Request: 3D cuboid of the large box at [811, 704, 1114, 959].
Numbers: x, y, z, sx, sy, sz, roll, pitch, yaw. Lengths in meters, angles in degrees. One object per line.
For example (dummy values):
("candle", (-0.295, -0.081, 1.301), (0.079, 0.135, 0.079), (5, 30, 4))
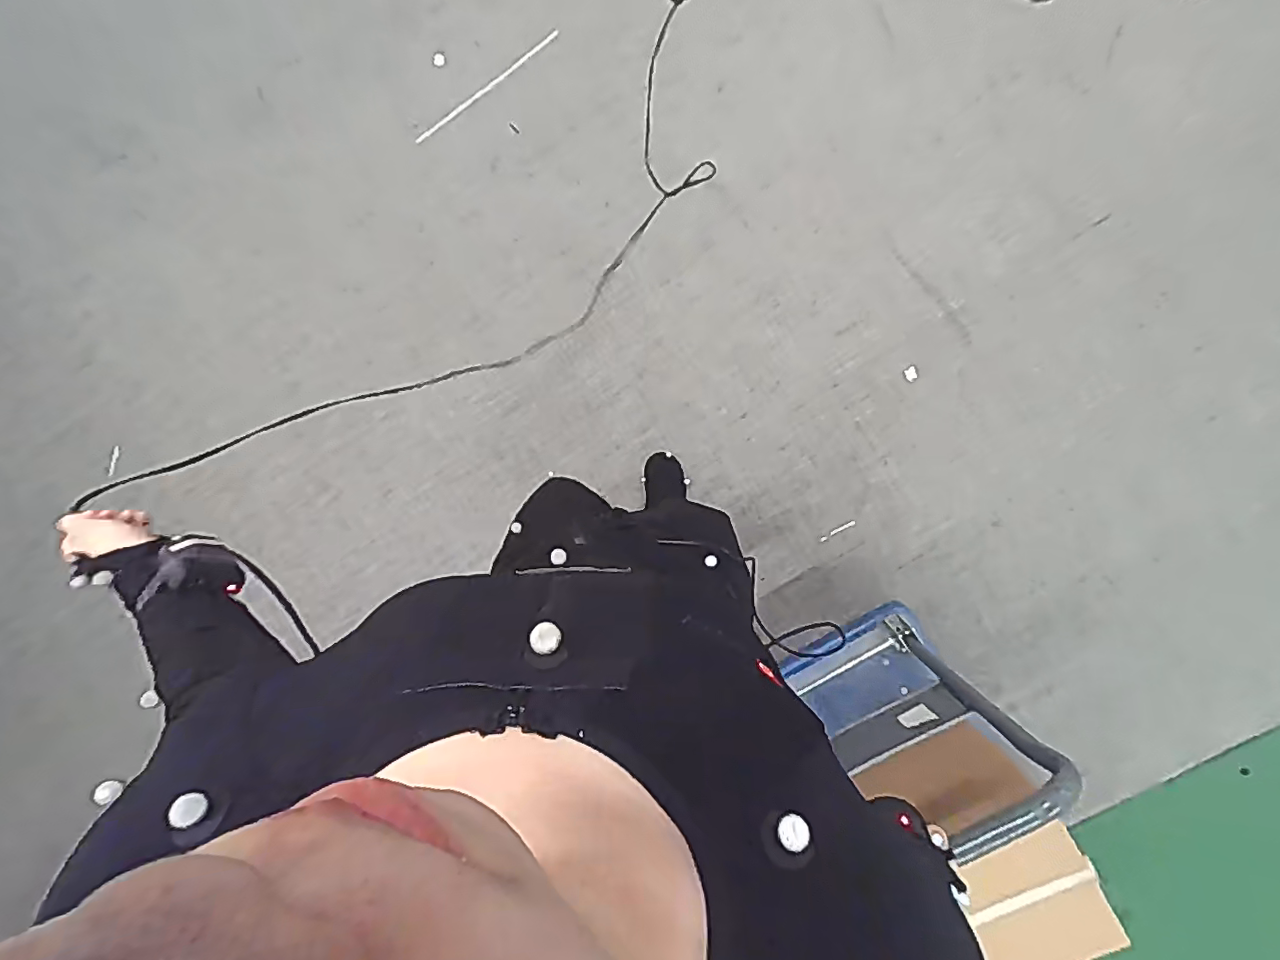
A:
("large box", (0.645, 0.764, 1.161), (0.408, 0.320, 0.320), (-30, 89, 7))
